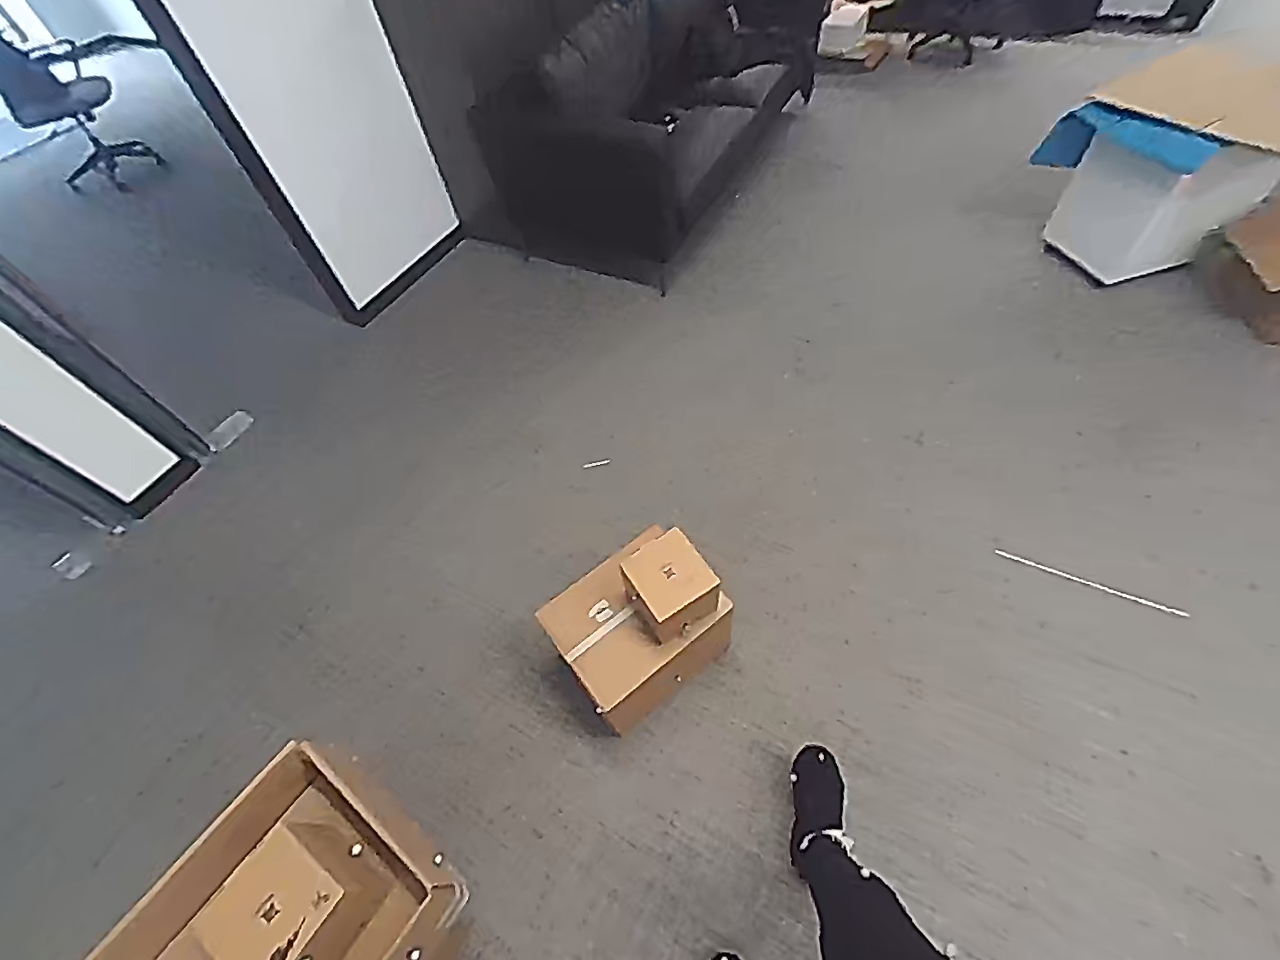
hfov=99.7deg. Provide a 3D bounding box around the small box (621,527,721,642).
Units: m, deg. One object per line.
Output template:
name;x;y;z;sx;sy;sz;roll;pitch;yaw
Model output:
small box;0.072;0.250;1.273;0.168;0.176;0.179;-30;59;-13

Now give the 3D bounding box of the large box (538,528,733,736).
large box;0.002;0.413;1.469;0.408;0.320;0.320;-36;58;-16
